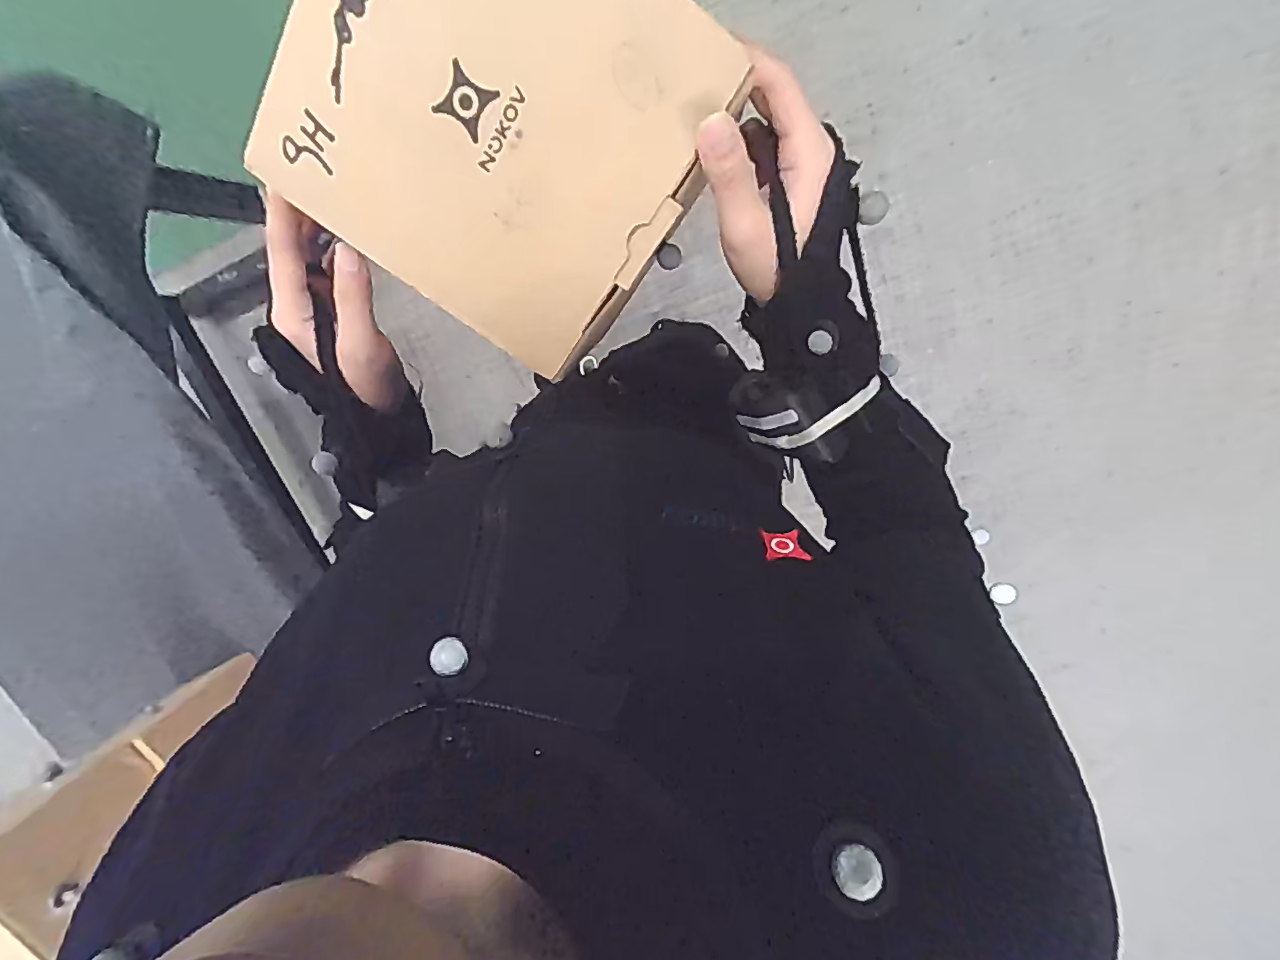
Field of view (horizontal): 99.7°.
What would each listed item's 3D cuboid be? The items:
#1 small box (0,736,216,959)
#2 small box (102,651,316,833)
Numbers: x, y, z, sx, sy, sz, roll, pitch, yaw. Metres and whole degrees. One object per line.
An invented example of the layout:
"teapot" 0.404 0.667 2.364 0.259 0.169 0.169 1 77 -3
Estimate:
"small box" -0.650 0.434 0.616 0.168 0.176 0.179 -24 104 14
"small box" -0.614 0.378 0.765 0.179 0.176 0.168 -28 104 16
